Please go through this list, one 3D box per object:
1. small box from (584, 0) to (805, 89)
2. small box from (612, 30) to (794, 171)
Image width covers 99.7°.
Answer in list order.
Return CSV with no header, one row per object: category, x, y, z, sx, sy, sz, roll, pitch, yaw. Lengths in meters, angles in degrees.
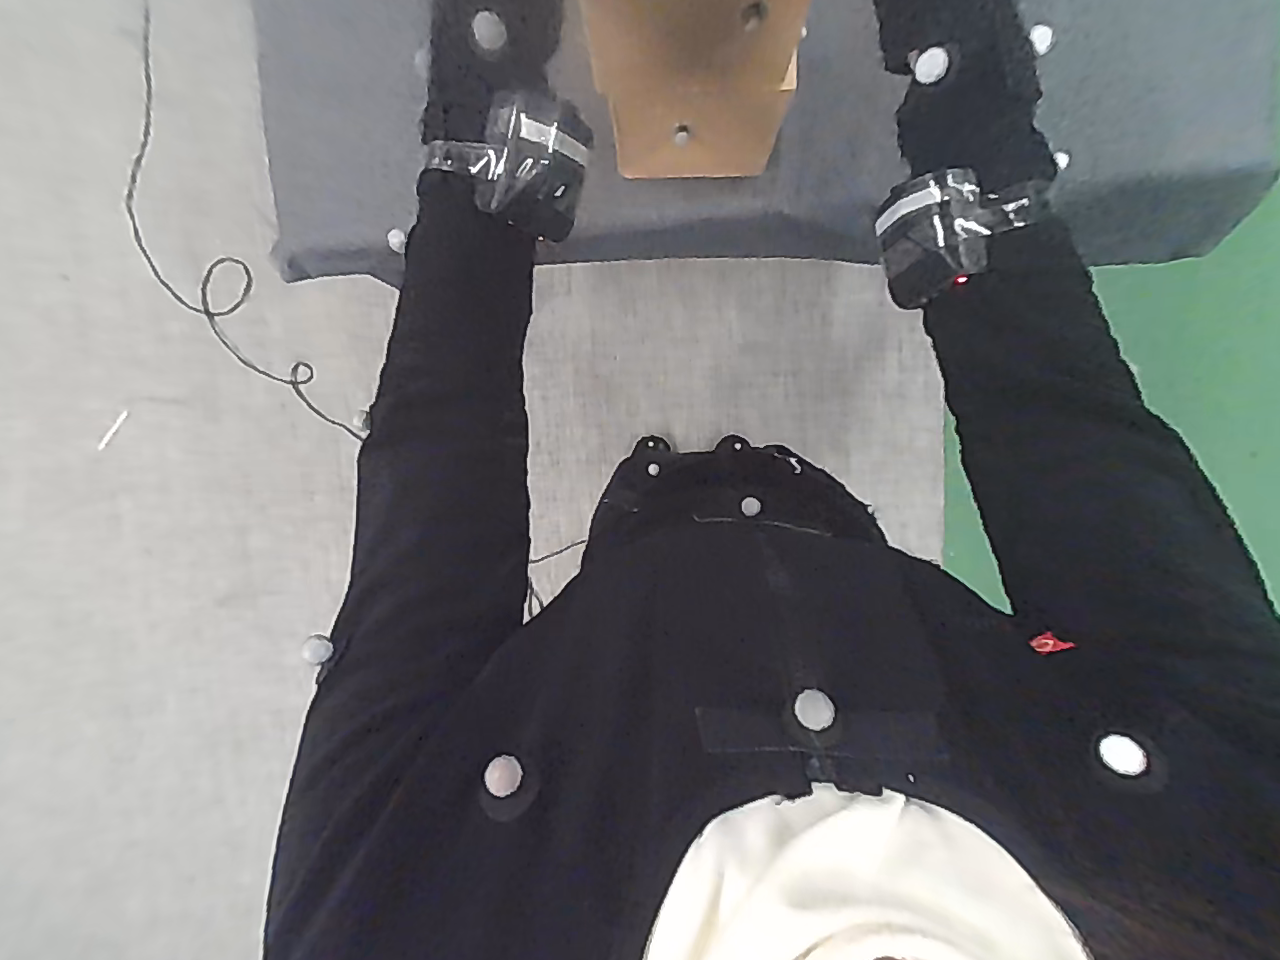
small box,0.043,-0.444,0.422,0.179,0.176,0.168,-1,93,3
small box,0.061,-0.456,0.583,0.179,0.176,0.168,1,94,2
